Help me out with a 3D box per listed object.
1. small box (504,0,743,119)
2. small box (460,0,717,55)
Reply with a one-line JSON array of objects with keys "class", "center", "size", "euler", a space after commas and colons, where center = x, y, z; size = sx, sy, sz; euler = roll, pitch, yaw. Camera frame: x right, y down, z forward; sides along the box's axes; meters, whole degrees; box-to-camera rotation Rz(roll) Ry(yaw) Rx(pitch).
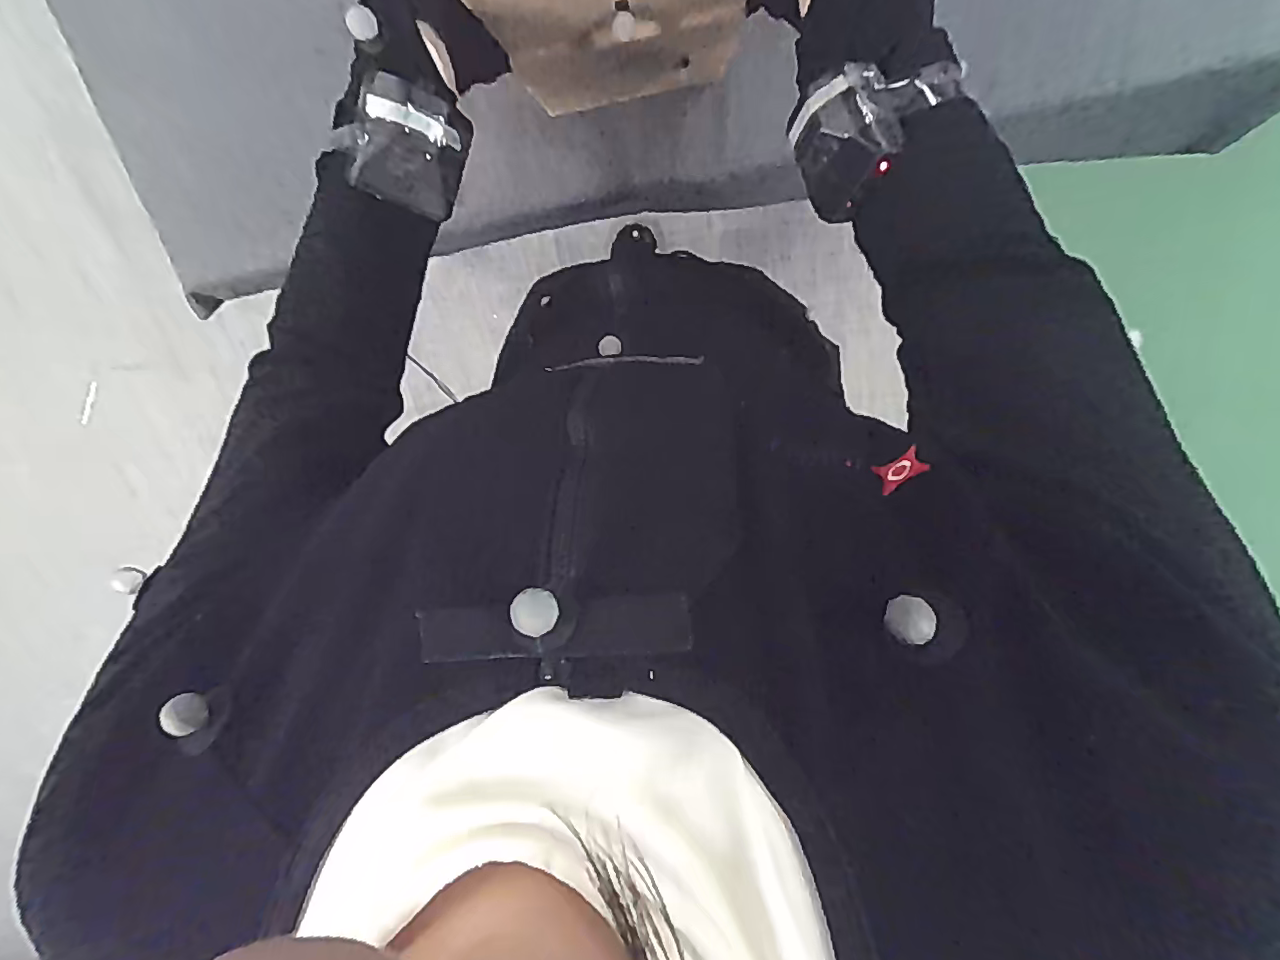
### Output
[{"class": "small box", "center": [-0.022, -0.417, 0.434], "size": [0.179, 0.176, 0.168], "euler": [-9, 112, 8]}, {"class": "small box", "center": [-0.031, -0.359, 0.279], "size": [0.179, 0.176, 0.168], "euler": [-8, 111, 5]}]
